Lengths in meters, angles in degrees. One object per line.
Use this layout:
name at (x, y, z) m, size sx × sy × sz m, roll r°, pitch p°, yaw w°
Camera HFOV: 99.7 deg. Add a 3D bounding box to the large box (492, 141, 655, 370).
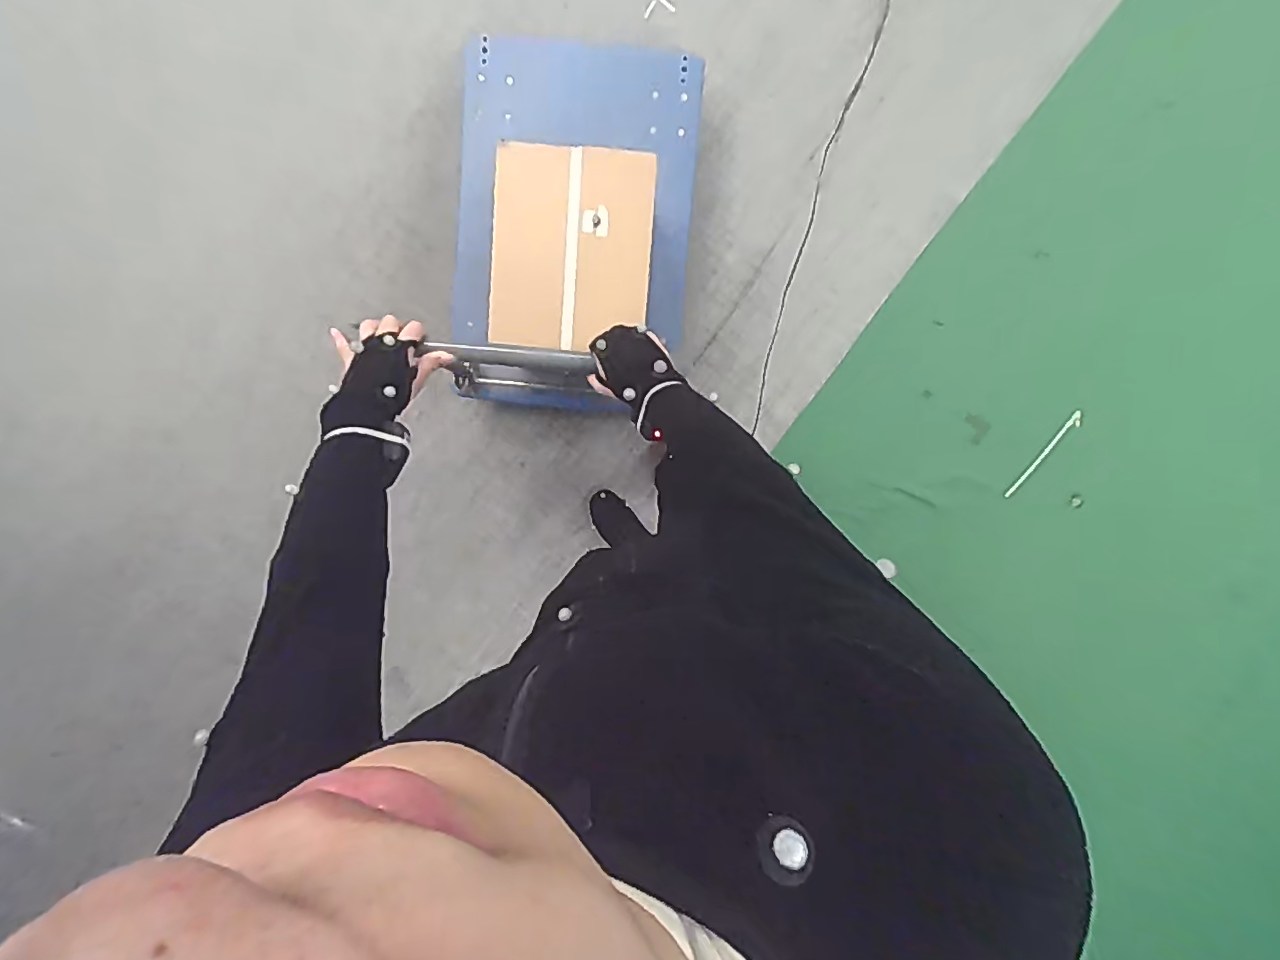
large box at (-0.136, -0.474, 1.230) m, size 0.320 × 0.320 × 0.408 m, roll 5°, pitch 96°, yaw -1°
